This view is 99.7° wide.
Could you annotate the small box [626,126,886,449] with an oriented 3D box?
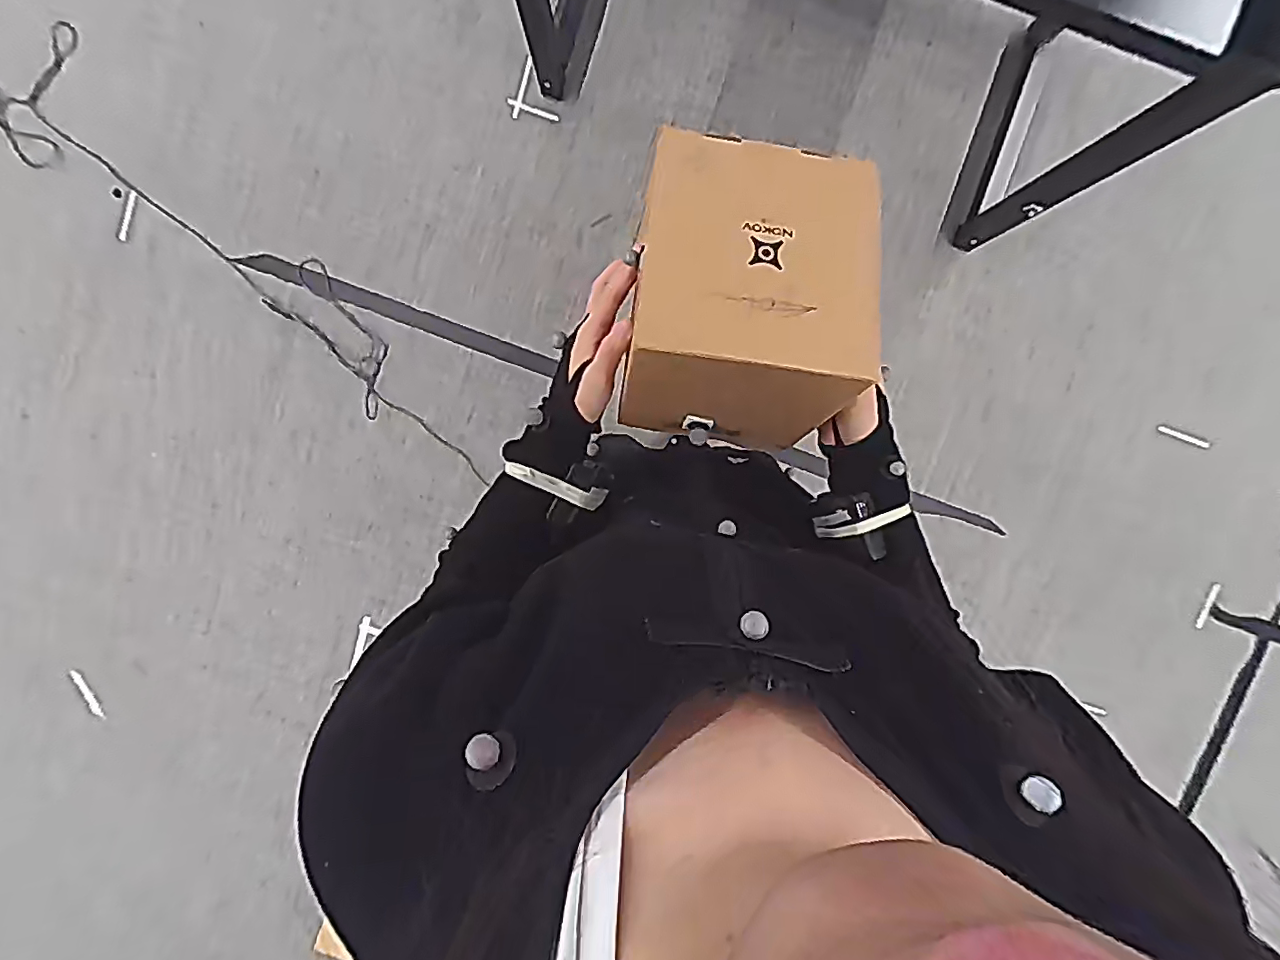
[{"bbox_3d":[0.081,-0.139,0.446,0.168,0.176,0.179,7,77,-4],"label":"small box"}]
